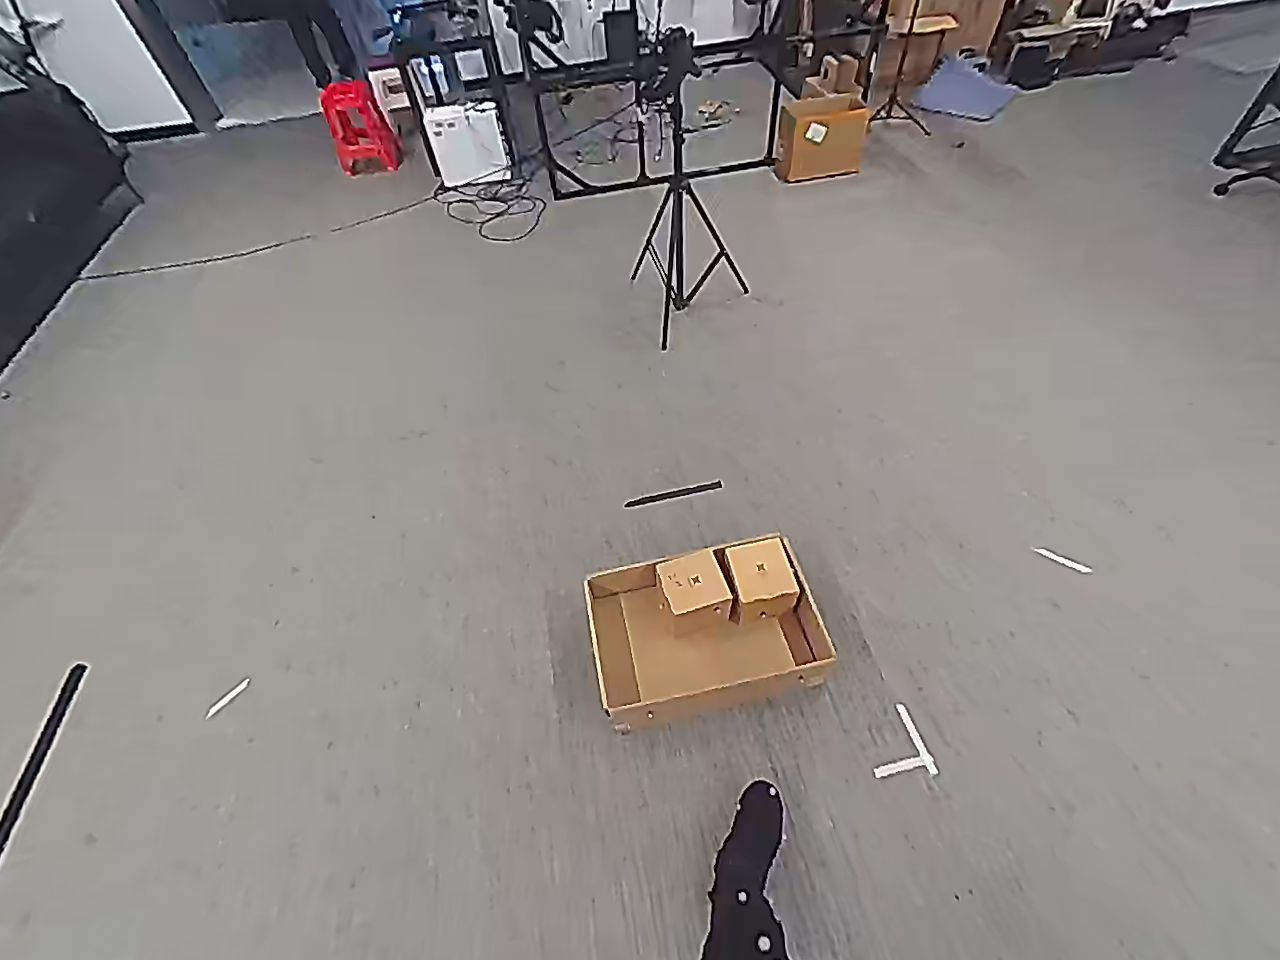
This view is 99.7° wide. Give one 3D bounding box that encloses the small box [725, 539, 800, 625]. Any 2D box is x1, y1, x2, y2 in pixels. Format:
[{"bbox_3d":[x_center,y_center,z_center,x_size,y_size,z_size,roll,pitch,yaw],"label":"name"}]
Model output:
[{"bbox_3d":[0.351,0.302,1.590,0.168,0.176,0.179,-12,55,-2],"label":"small box"}]
